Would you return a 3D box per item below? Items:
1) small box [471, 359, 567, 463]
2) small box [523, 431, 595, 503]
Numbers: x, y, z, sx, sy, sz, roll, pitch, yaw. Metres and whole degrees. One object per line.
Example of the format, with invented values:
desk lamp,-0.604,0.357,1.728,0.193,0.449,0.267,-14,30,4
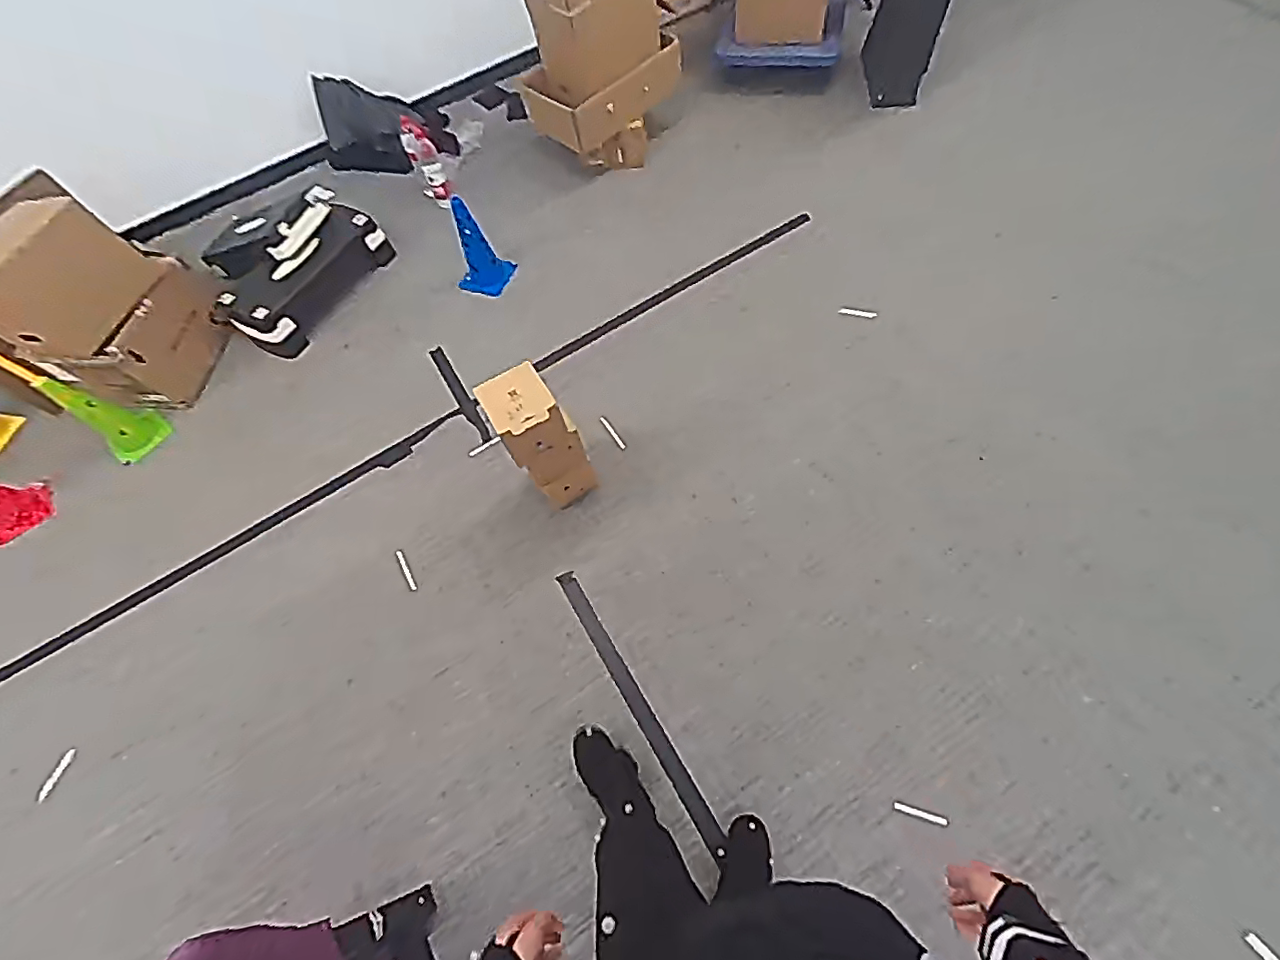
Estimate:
small box,-0.314,-0.176,1.424,0.168,0.176,0.179,-30,64,-9
small box,-0.264,-0.046,1.725,0.168,0.176,0.179,-35,64,-11
